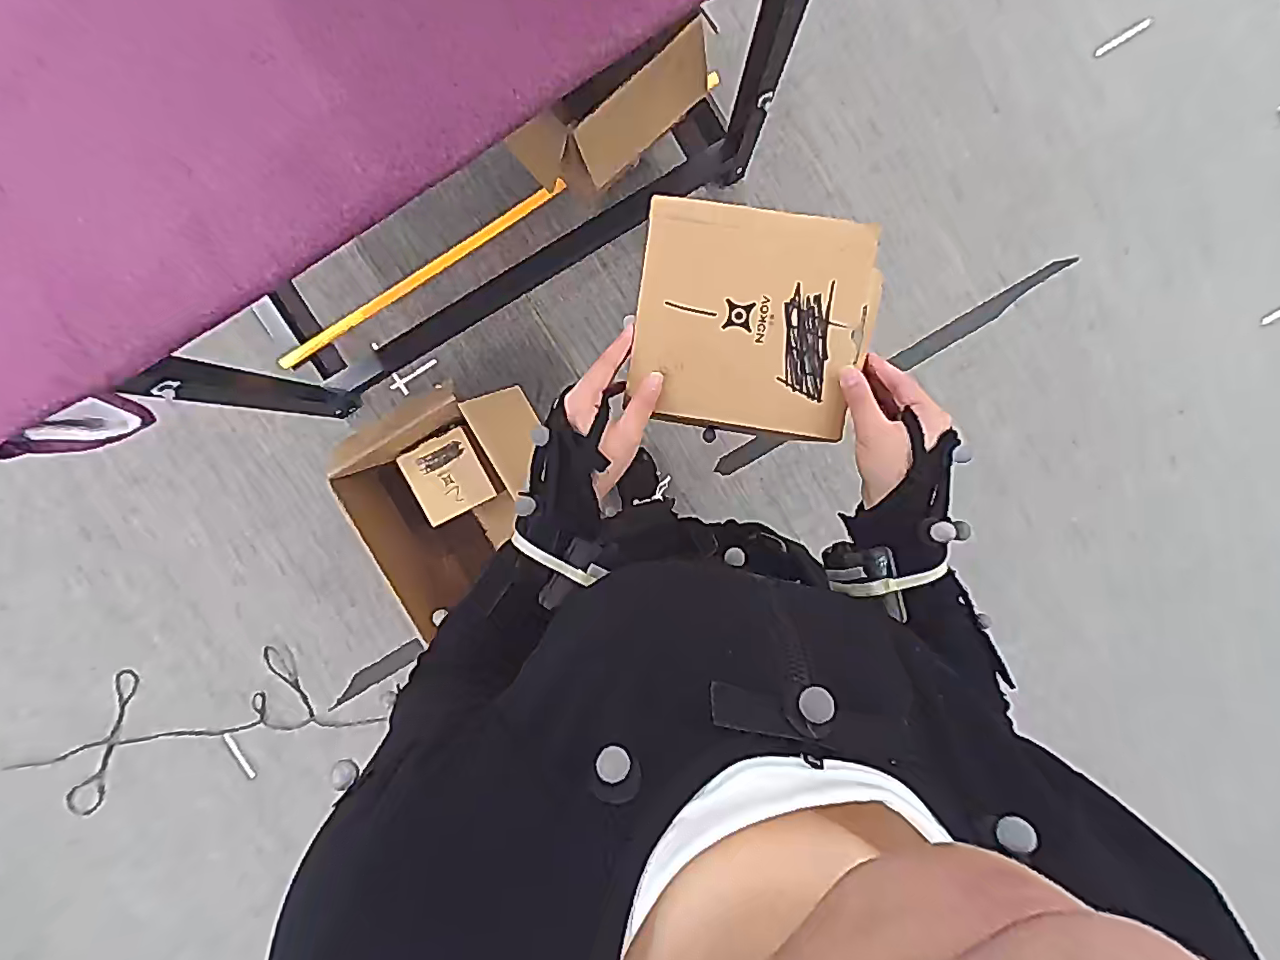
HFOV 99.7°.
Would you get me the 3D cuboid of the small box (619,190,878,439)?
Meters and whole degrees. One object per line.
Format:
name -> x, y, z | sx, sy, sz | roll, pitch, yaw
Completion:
small box -> 0.084, -0.133, 0.493 | 0.179, 0.176, 0.168 | 9, 95, 2
